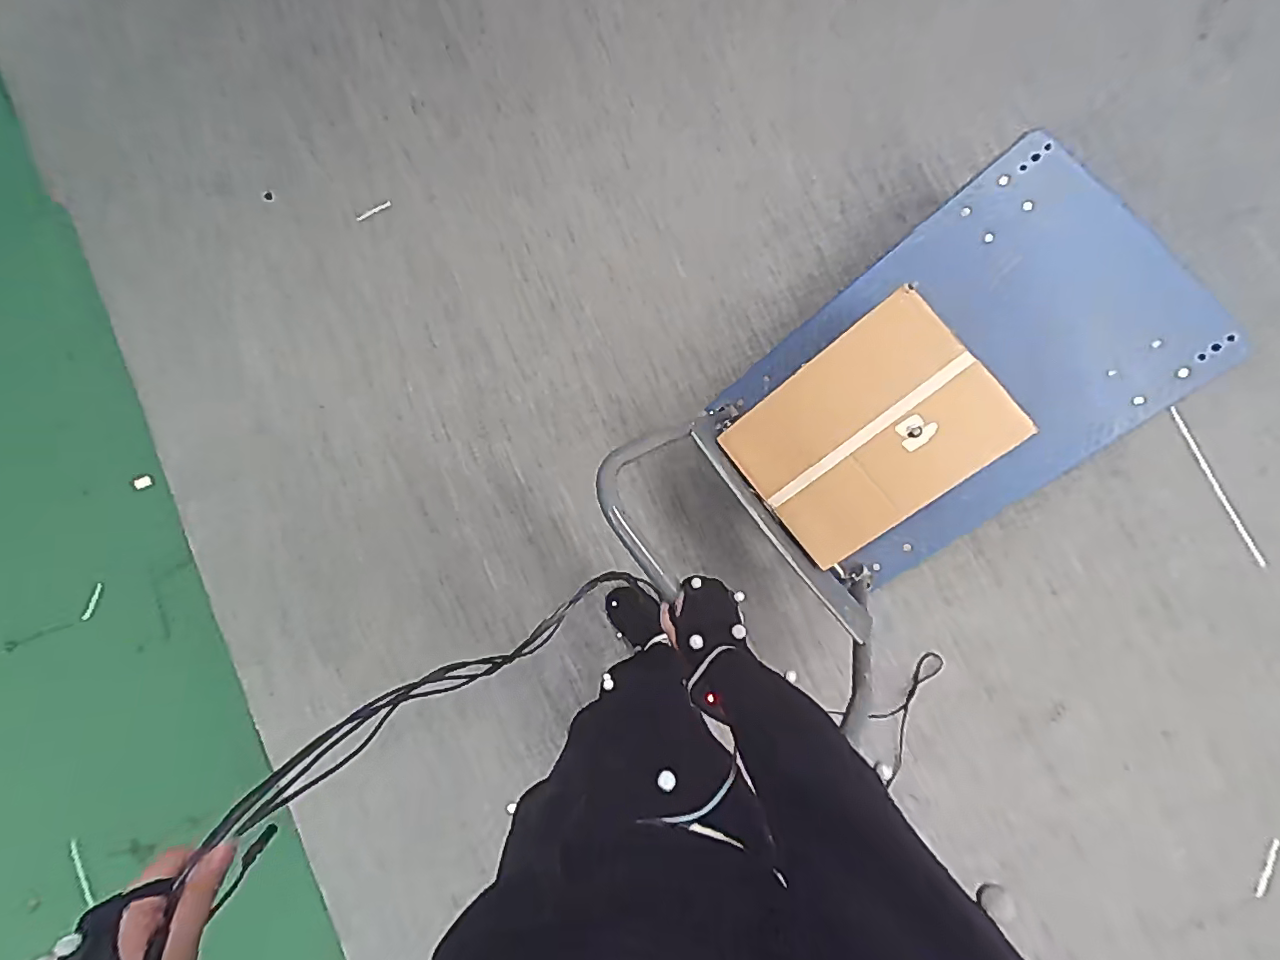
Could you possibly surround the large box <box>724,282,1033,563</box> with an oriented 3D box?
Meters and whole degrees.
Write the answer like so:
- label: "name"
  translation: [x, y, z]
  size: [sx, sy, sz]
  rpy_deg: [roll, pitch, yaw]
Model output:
- label: "large box"
  translation: [0.435, -0.101, 1.067]
  size: [0.408, 0.320, 0.320]
  rpy_deg: [-39, 84, 19]
